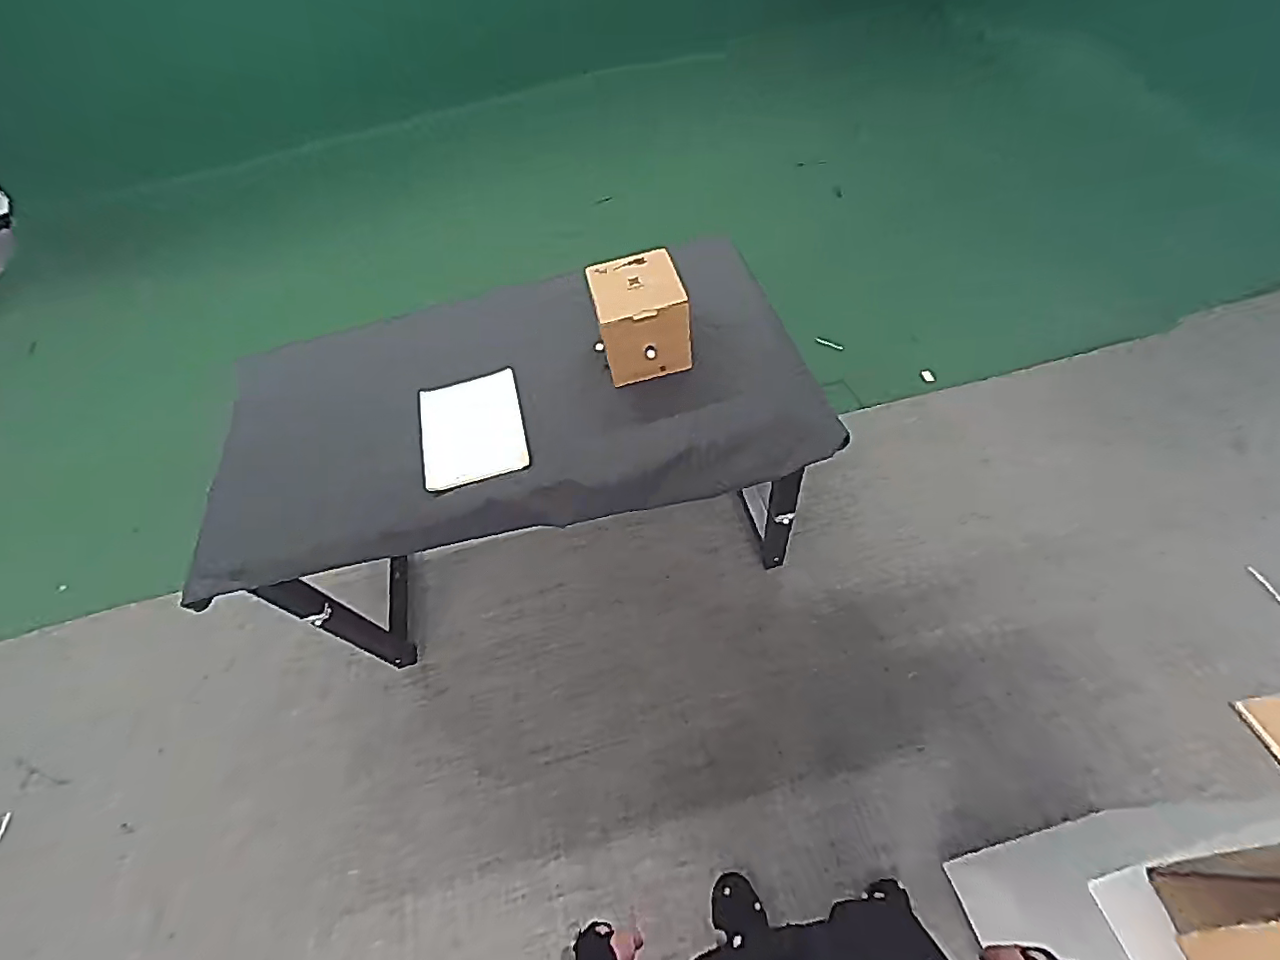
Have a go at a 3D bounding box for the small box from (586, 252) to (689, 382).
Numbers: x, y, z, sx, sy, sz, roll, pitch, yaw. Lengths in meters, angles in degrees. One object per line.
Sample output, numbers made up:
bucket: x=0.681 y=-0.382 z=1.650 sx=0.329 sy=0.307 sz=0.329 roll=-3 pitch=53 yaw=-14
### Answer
small box: x=-0.001 y=-0.317 z=1.083 sx=0.168 sy=0.176 sz=0.179 roll=-14 pitch=57 yaw=-2
